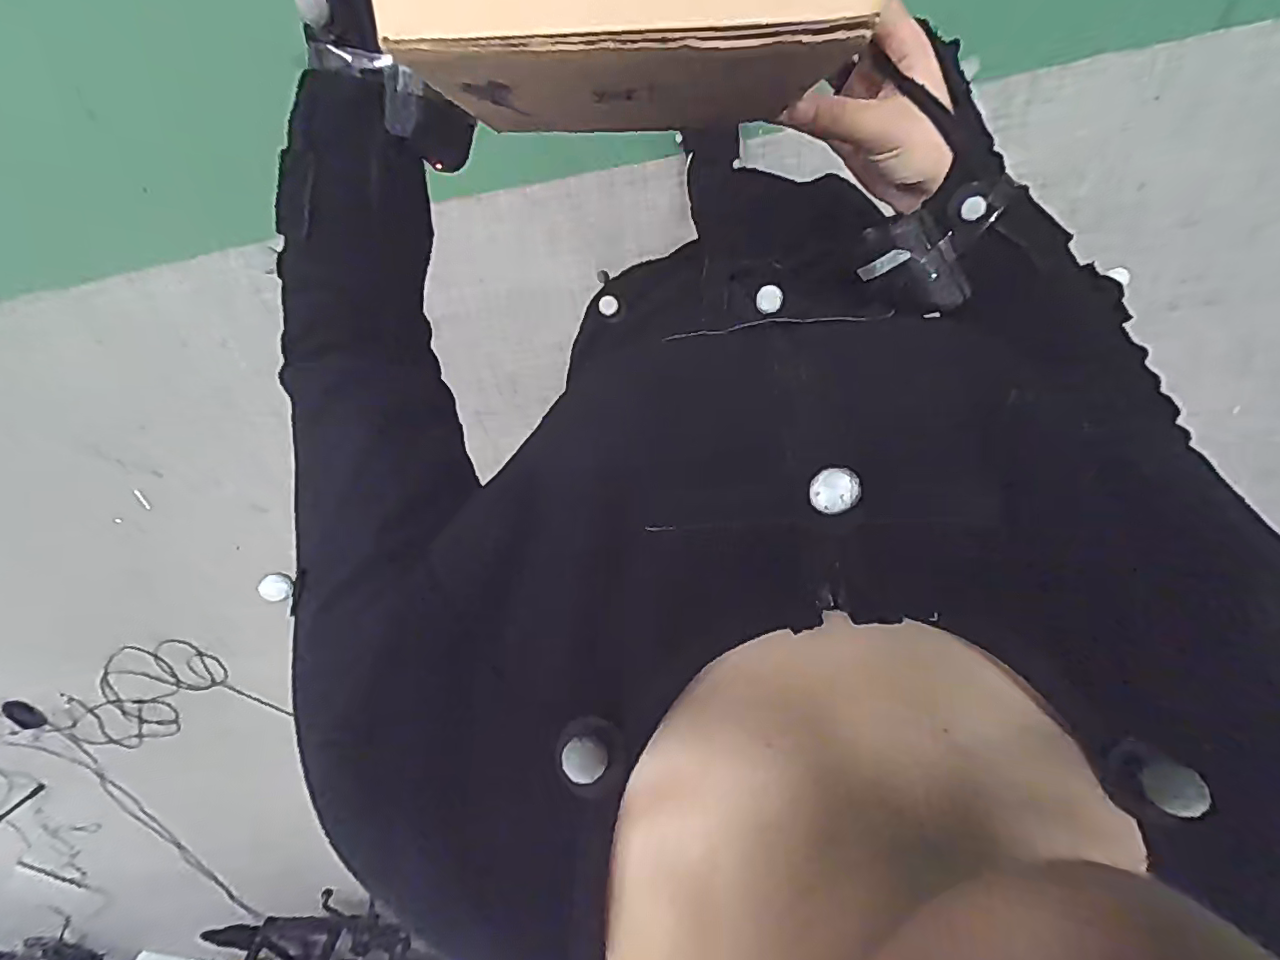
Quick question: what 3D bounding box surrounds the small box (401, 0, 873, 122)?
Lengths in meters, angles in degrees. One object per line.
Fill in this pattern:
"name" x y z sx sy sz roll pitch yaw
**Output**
"small box" -0.005 -0.272 0.231 0.179 0.168 0.176 -2 113 1
